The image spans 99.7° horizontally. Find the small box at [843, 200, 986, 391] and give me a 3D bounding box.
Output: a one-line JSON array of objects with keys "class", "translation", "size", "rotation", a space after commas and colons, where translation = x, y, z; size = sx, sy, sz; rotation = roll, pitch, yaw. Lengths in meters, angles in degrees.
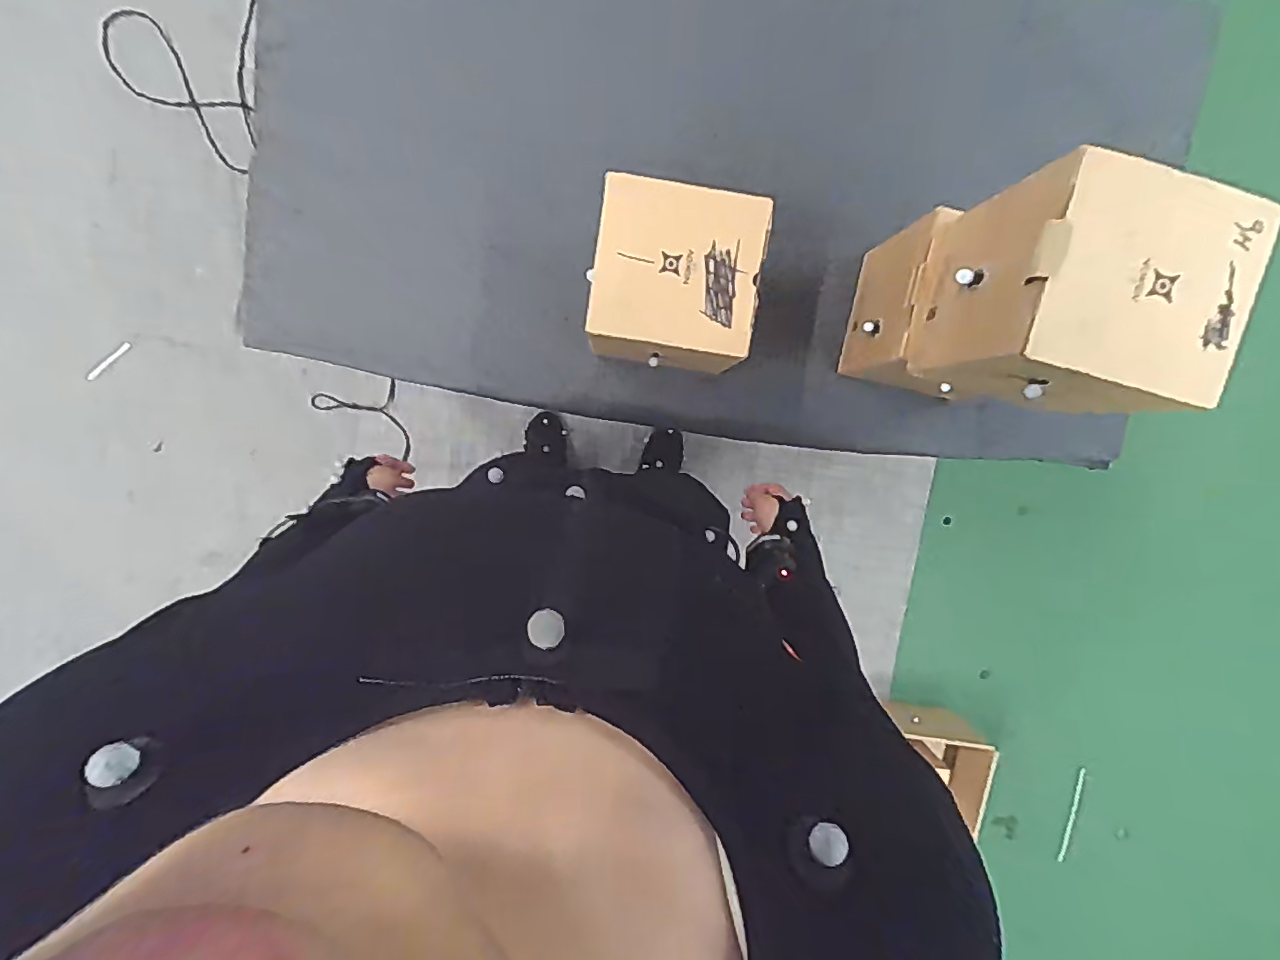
[{"class": "small box", "translation": [0.372, -0.203, 0.649], "size": [0.179, 0.176, 0.168], "rotation": [11, 97, -5]}]

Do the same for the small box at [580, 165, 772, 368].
[{"class": "small box", "translation": [0.034, -0.229, 0.628], "size": [0.179, 0.176, 0.168], "rotation": [9, 95, -2]}]

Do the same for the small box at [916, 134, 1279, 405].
[{"class": "small box", "translation": [0.389, -0.165, 0.489], "size": [0.179, 0.176, 0.168], "rotation": [14, 96, -4]}]
